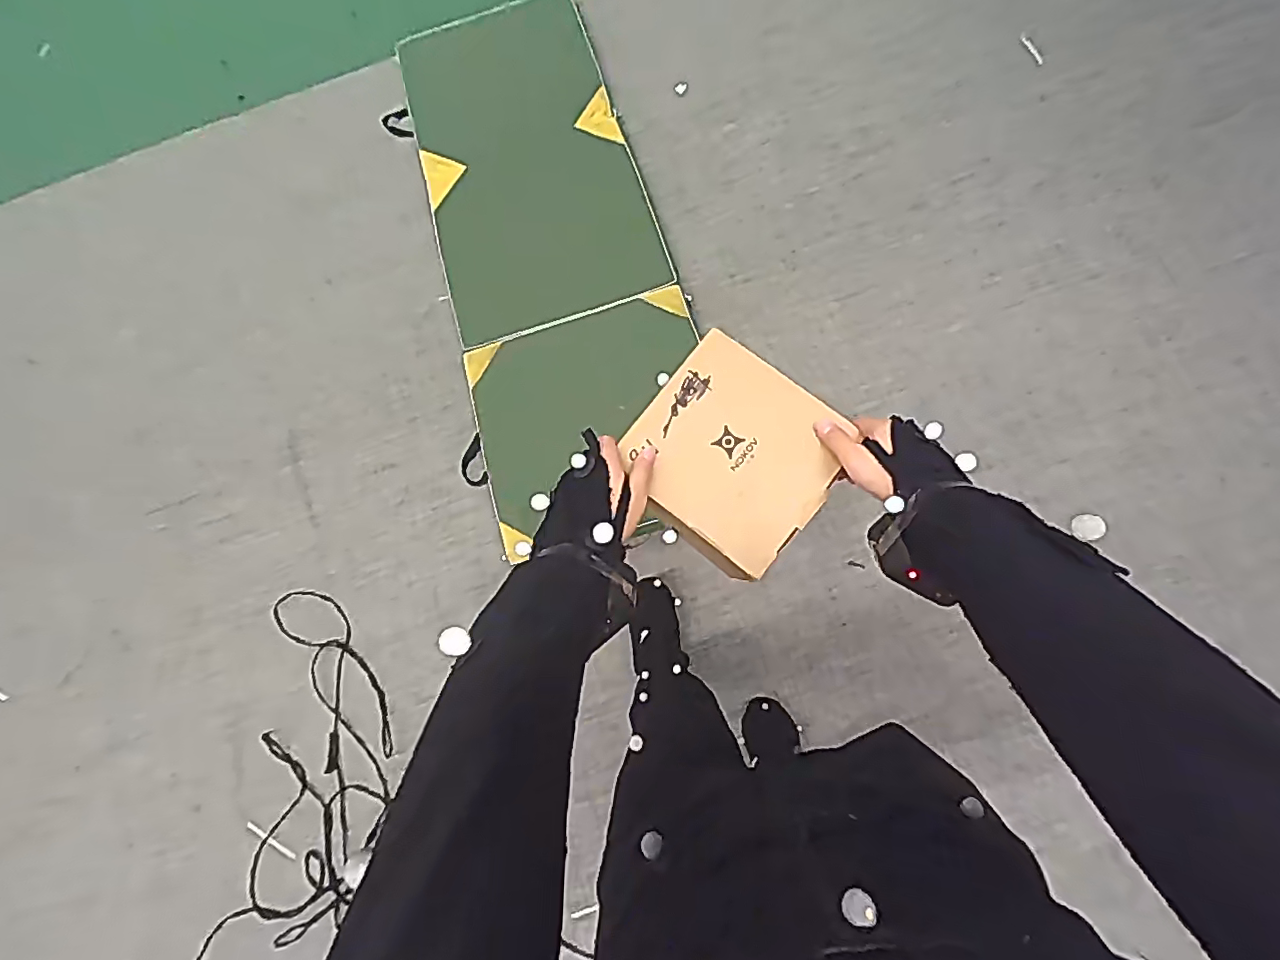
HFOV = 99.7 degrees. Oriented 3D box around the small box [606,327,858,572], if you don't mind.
[{"bbox_3d":[0.086,-0.022,0.575,0.179,0.176,0.168,38,84,7],"label":"small box"}]
